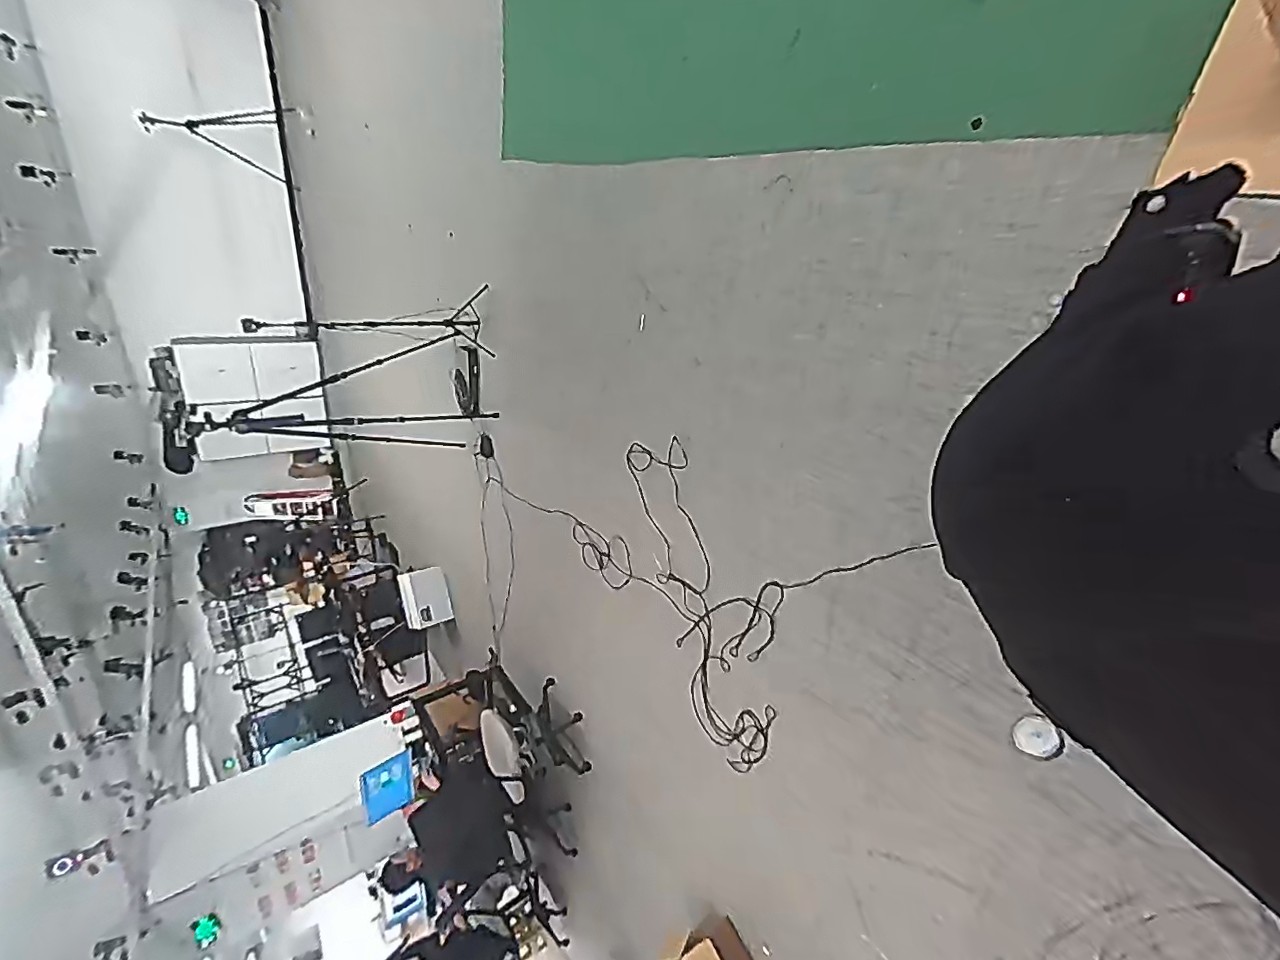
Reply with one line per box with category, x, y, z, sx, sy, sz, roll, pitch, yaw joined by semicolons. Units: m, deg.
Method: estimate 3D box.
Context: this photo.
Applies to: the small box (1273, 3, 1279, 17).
small box;1.057;-0.744;0.755;0.168;0.176;0.179;34;126;45
